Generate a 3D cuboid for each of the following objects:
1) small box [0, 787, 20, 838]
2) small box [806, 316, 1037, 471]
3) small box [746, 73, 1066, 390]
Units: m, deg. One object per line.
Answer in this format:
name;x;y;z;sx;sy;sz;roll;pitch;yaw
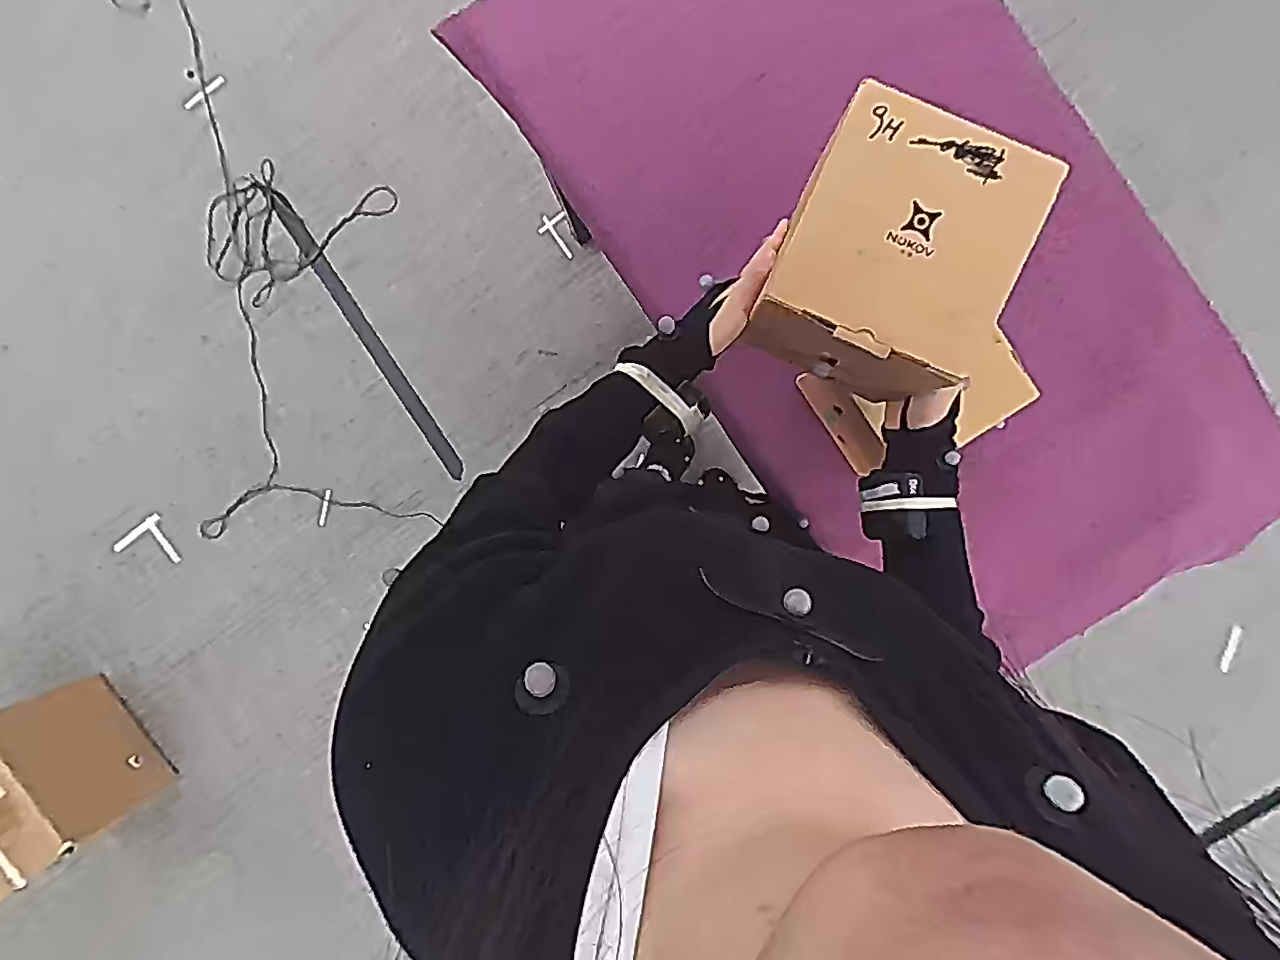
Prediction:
small box;-1.632;0.824;1.252;0.179;0.176;0.168;-37;91;3
small box;0.332;-0.124;0.685;0.179;0.176;0.168;-34;91;3
small box;0.206;-0.192;0.479;0.168;0.176;0.179;24;95;0
